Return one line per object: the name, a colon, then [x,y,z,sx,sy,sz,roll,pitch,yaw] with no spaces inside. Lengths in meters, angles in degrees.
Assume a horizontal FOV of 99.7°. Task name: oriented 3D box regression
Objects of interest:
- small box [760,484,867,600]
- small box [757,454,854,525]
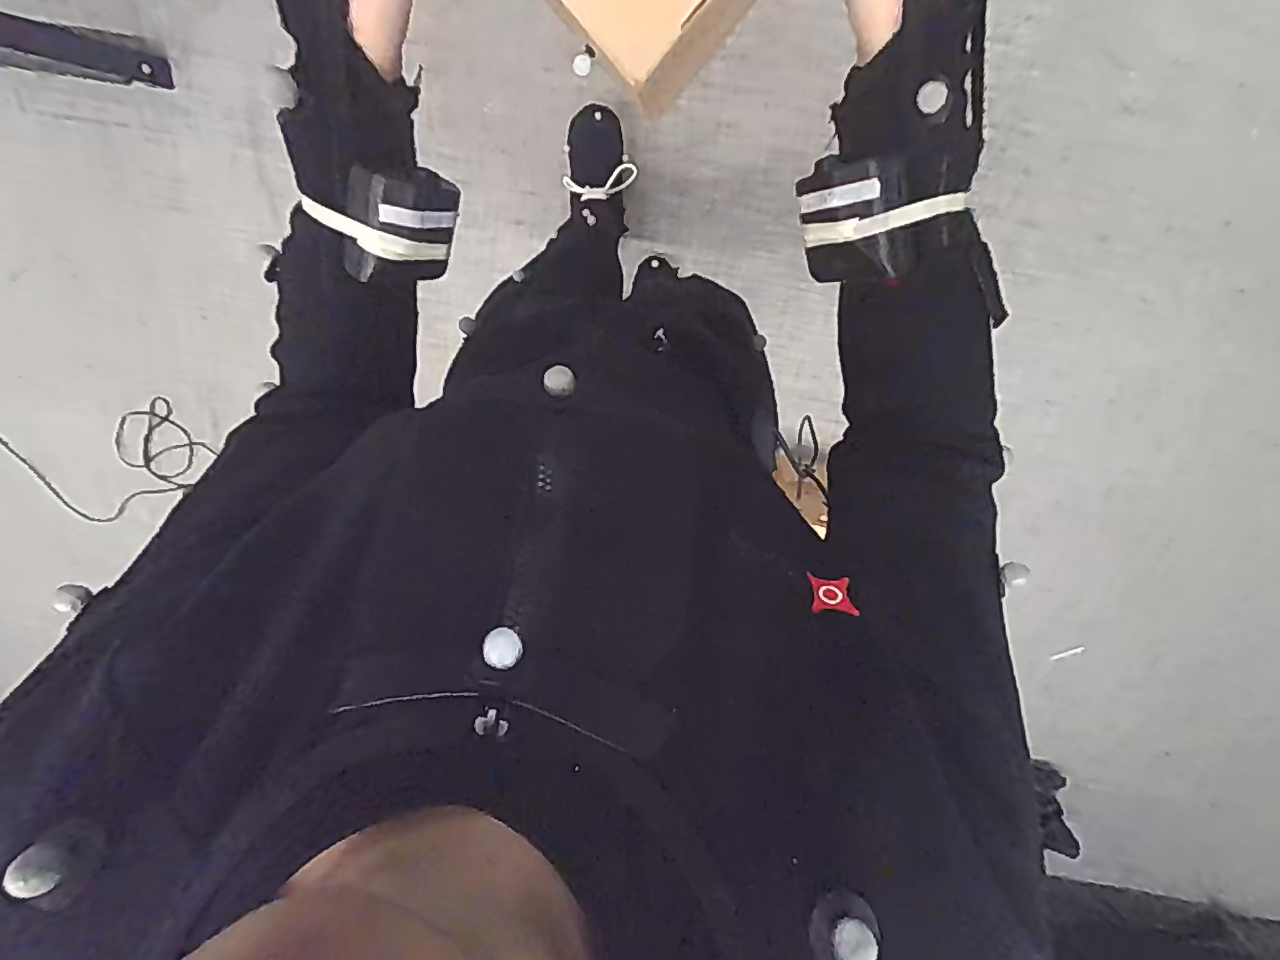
small box: [0.373,0.133,1.202,0.168,0.176,0.179,13,116,-1]
small box: [0.399,0.052,1.342,0.168,0.176,0.179,13,116,-2]
